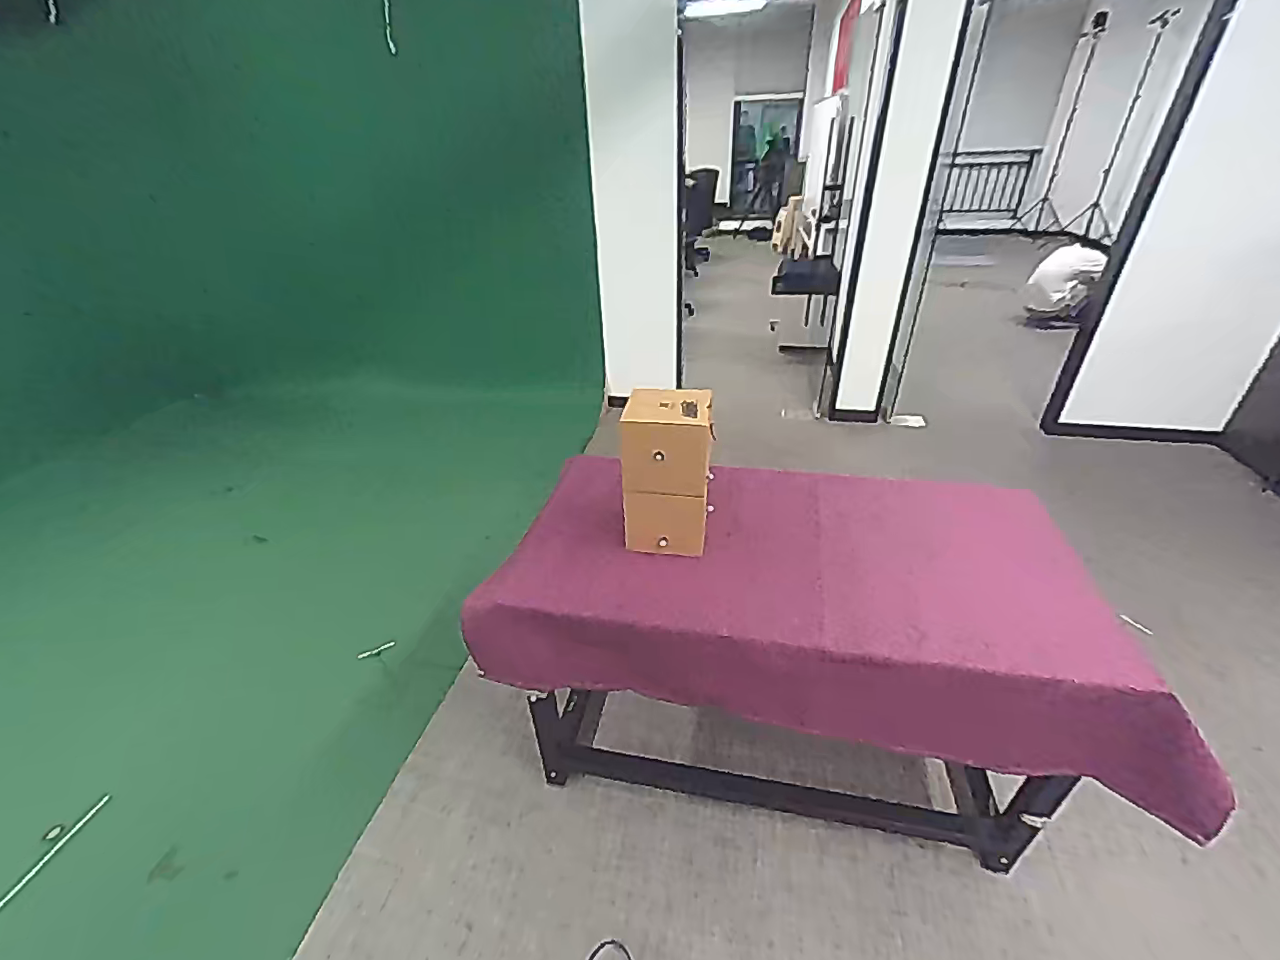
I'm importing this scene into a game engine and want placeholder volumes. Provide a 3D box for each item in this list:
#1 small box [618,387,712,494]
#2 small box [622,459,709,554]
[{"bbox_3d":[0.058,-0.083,1.152,0.179,0.176,0.168,3,34,10],"label":"small box"},{"bbox_3d":[0.062,0.053,1.243,0.179,0.176,0.168,4,34,9],"label":"small box"}]
